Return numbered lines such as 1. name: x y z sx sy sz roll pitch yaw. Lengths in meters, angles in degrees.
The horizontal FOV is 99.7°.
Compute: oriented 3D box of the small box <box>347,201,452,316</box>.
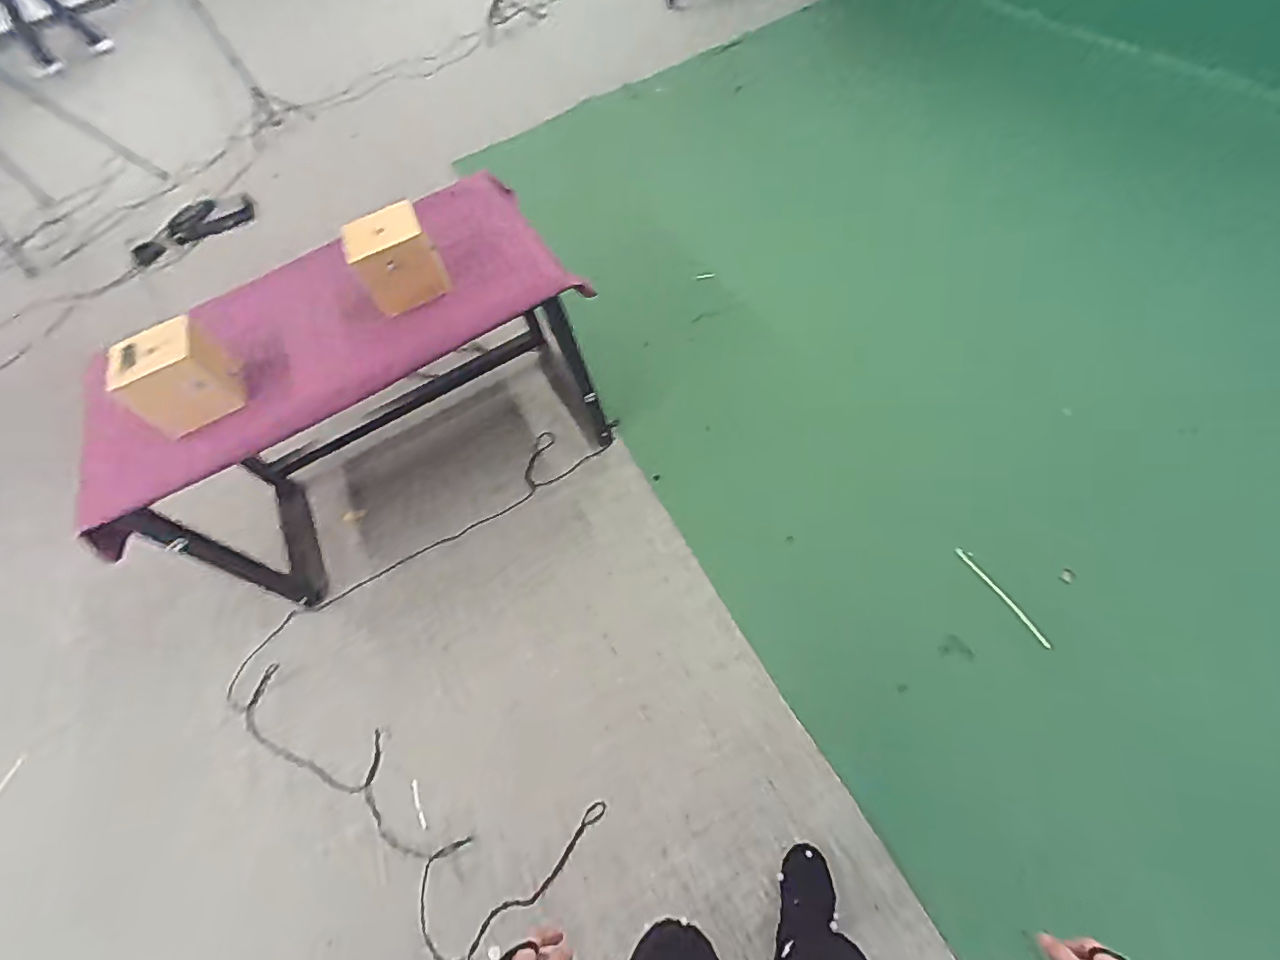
1. small box: -0.585 -0.544 1.337 0.179 0.176 0.168 -25 59 -4
